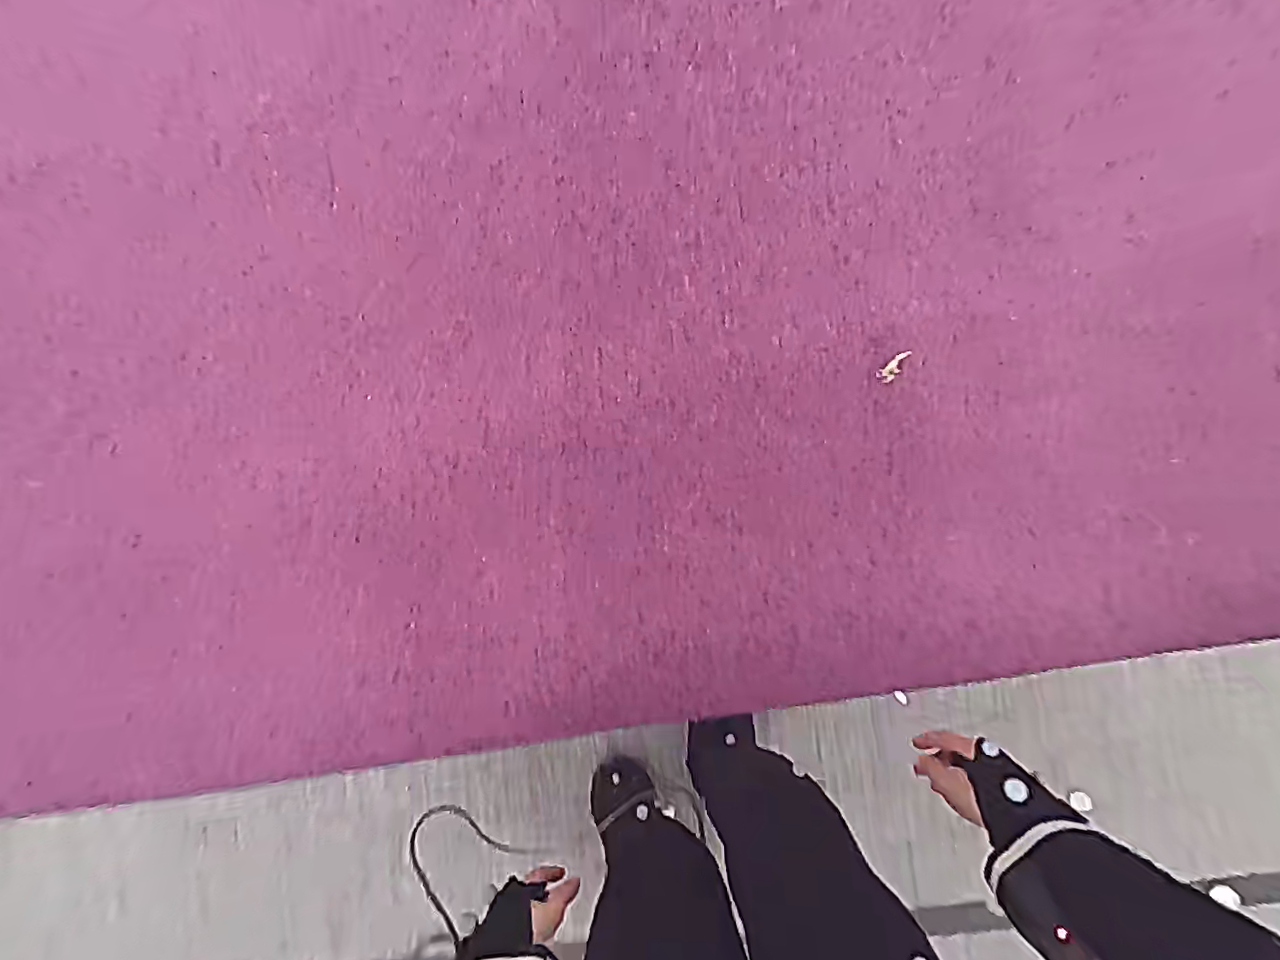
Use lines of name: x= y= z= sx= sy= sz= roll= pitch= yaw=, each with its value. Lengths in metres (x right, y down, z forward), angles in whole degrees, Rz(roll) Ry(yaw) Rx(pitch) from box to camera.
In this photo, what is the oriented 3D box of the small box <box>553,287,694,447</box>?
small box: x=-0.021 y=-0.145 z=0.749 sx=0.168 sy=0.176 sz=0.179 roll=-5 pitch=89 yaw=1
